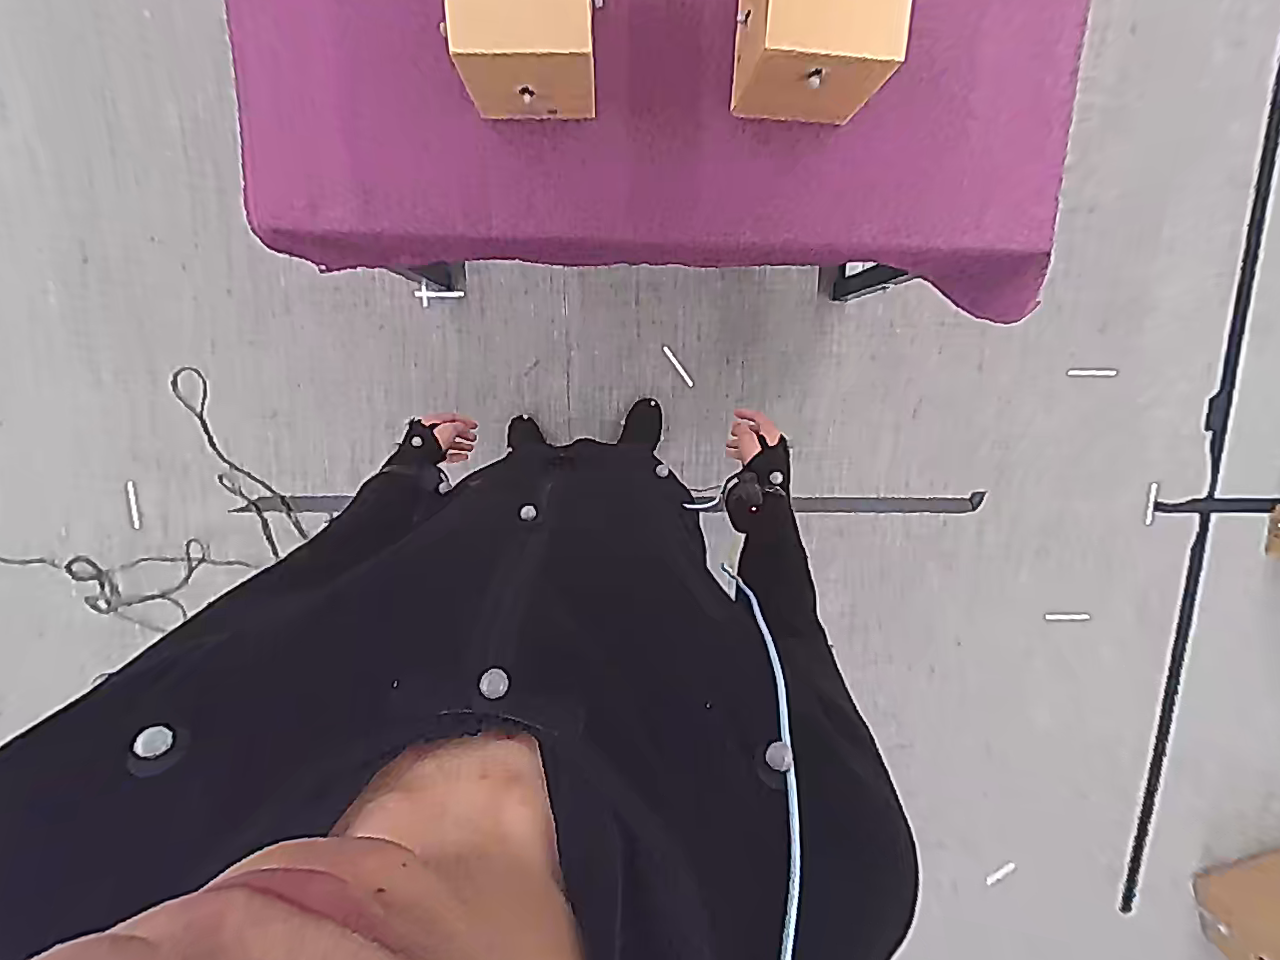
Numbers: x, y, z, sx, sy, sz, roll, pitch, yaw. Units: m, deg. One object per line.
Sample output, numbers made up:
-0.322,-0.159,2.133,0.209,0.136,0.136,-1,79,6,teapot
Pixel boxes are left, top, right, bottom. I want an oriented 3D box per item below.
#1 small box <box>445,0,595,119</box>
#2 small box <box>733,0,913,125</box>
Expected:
-0.142,-0.586,0.684,0.168,0.176,0.179,-2,101,-3,small box
0.232,-0.593,0.707,0.179,0.176,0.168,3,101,-3,small box
